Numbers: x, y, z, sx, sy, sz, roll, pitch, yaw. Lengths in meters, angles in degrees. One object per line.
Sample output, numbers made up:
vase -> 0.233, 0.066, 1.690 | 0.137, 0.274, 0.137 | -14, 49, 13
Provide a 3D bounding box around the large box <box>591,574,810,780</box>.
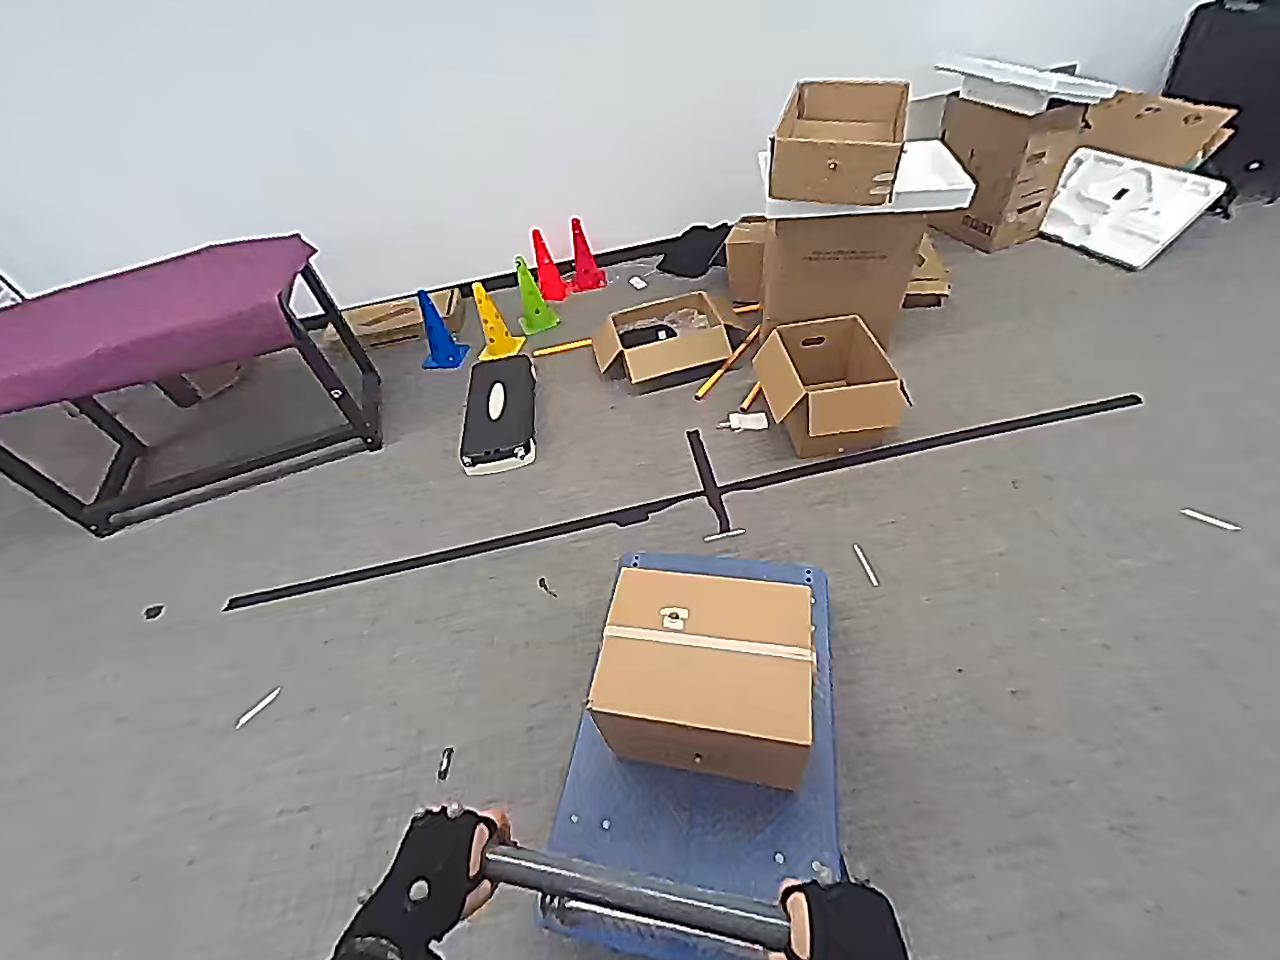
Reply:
large box -> 0.149, 0.427, 1.179 | 0.408, 0.320, 0.320 | 2, 47, 14
